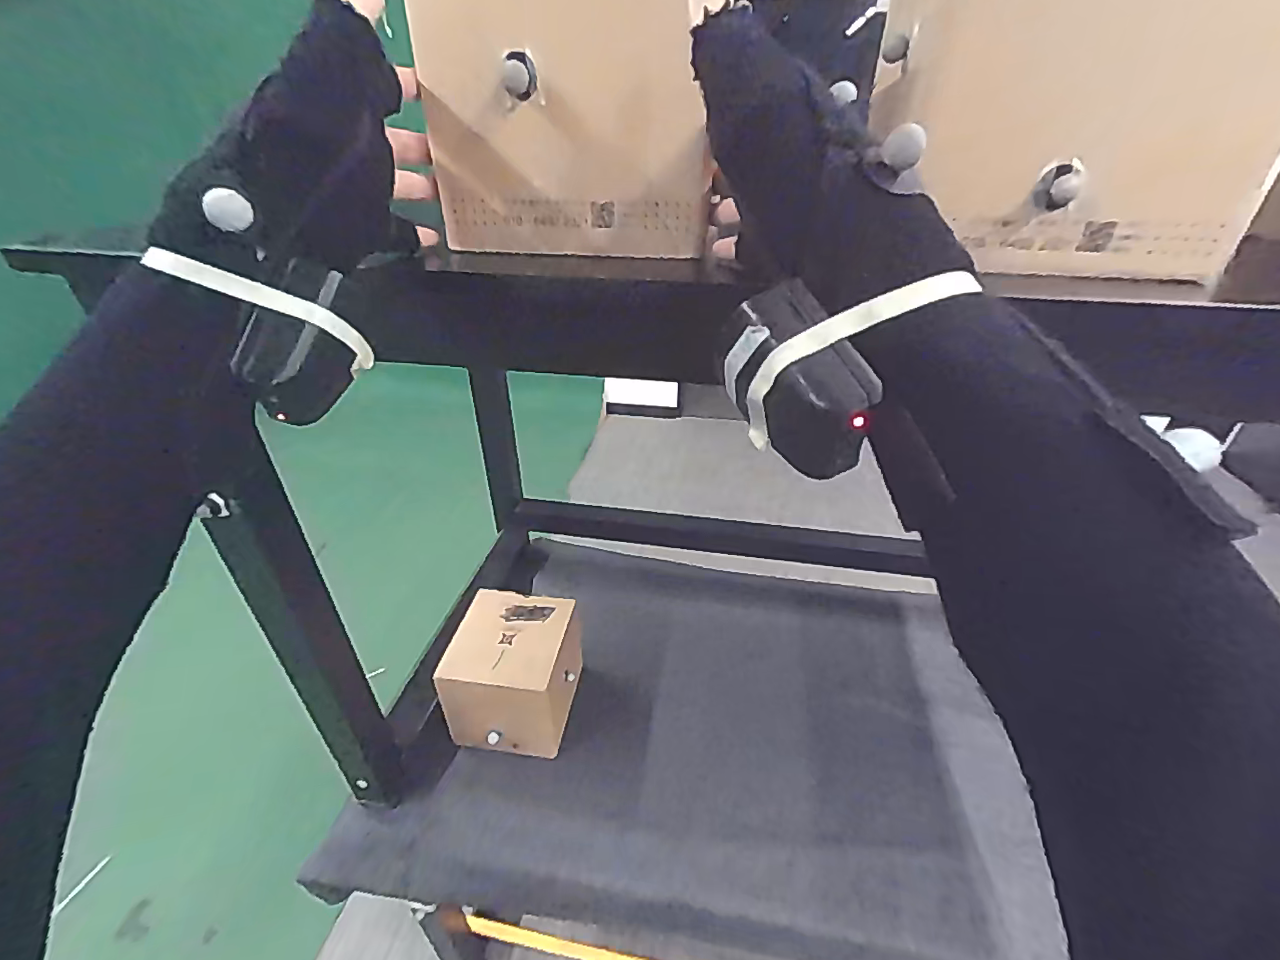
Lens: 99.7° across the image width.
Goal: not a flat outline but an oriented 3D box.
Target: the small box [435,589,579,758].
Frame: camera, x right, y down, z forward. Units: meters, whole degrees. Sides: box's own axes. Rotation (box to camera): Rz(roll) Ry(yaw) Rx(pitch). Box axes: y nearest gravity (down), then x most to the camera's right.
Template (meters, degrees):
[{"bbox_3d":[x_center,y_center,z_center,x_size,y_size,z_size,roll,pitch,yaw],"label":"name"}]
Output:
[{"bbox_3d":[-0.195,0.299,0.852,0.168,0.176,0.179,4,33,7],"label":"small box"}]

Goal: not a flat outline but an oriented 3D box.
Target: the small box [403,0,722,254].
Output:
[{"bbox_3d":[-0.032,-0.256,0.367,0.168,0.176,0.179,4,32,8],"label":"small box"}]
